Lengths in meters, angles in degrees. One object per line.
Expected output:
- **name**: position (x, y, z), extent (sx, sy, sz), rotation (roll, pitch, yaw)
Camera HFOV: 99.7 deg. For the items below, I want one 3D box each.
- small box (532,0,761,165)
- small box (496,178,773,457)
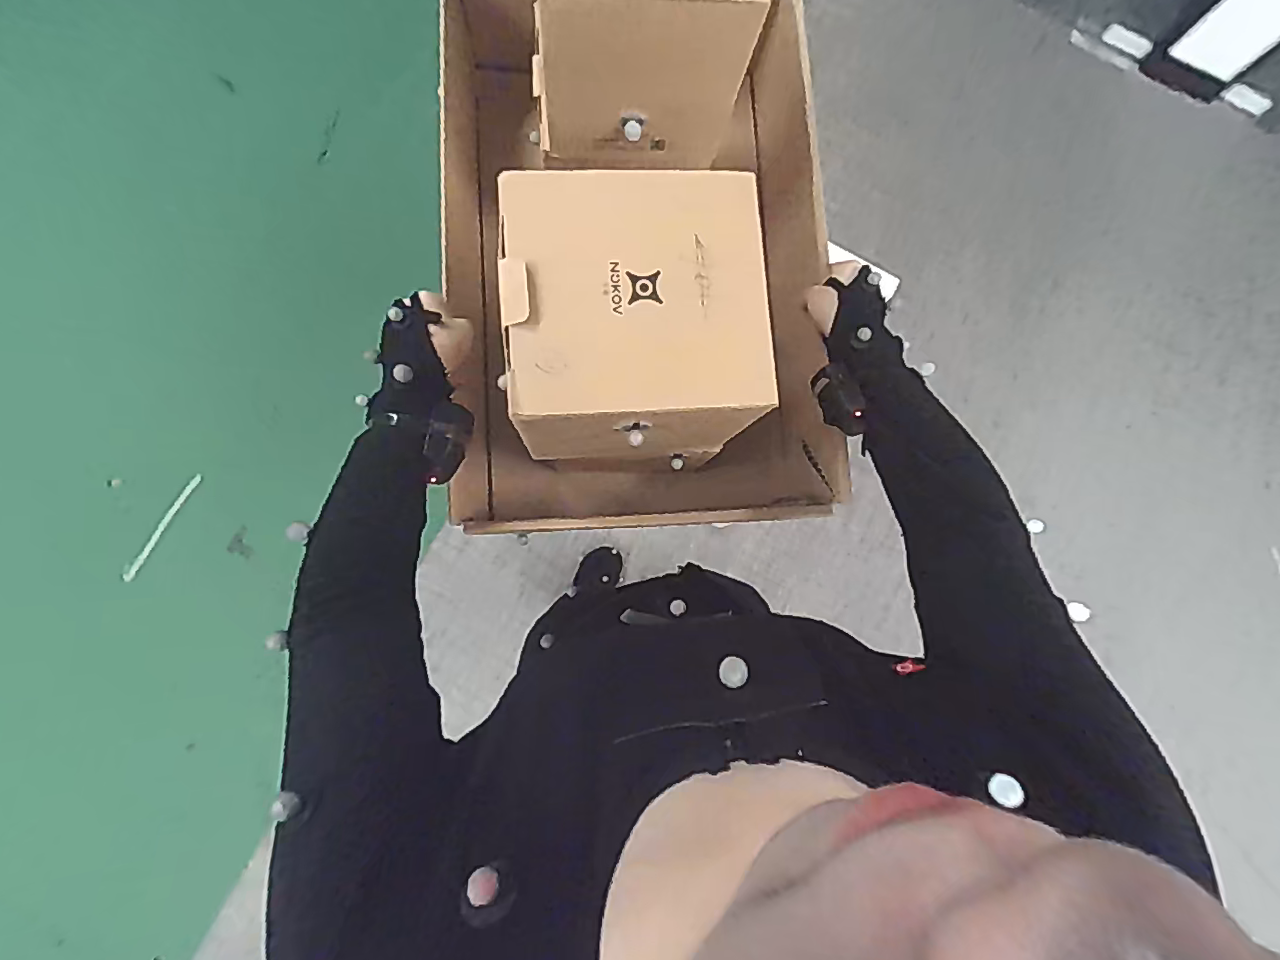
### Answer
- **small box**: position (-0.008, -0.408, 0.463), extent (0.168, 0.176, 0.179), rotation (-4, 86, -7)
- **small box**: position (-0.012, -0.114, 0.438), extent (0.179, 0.176, 0.168), rotation (-5, 85, -8)
